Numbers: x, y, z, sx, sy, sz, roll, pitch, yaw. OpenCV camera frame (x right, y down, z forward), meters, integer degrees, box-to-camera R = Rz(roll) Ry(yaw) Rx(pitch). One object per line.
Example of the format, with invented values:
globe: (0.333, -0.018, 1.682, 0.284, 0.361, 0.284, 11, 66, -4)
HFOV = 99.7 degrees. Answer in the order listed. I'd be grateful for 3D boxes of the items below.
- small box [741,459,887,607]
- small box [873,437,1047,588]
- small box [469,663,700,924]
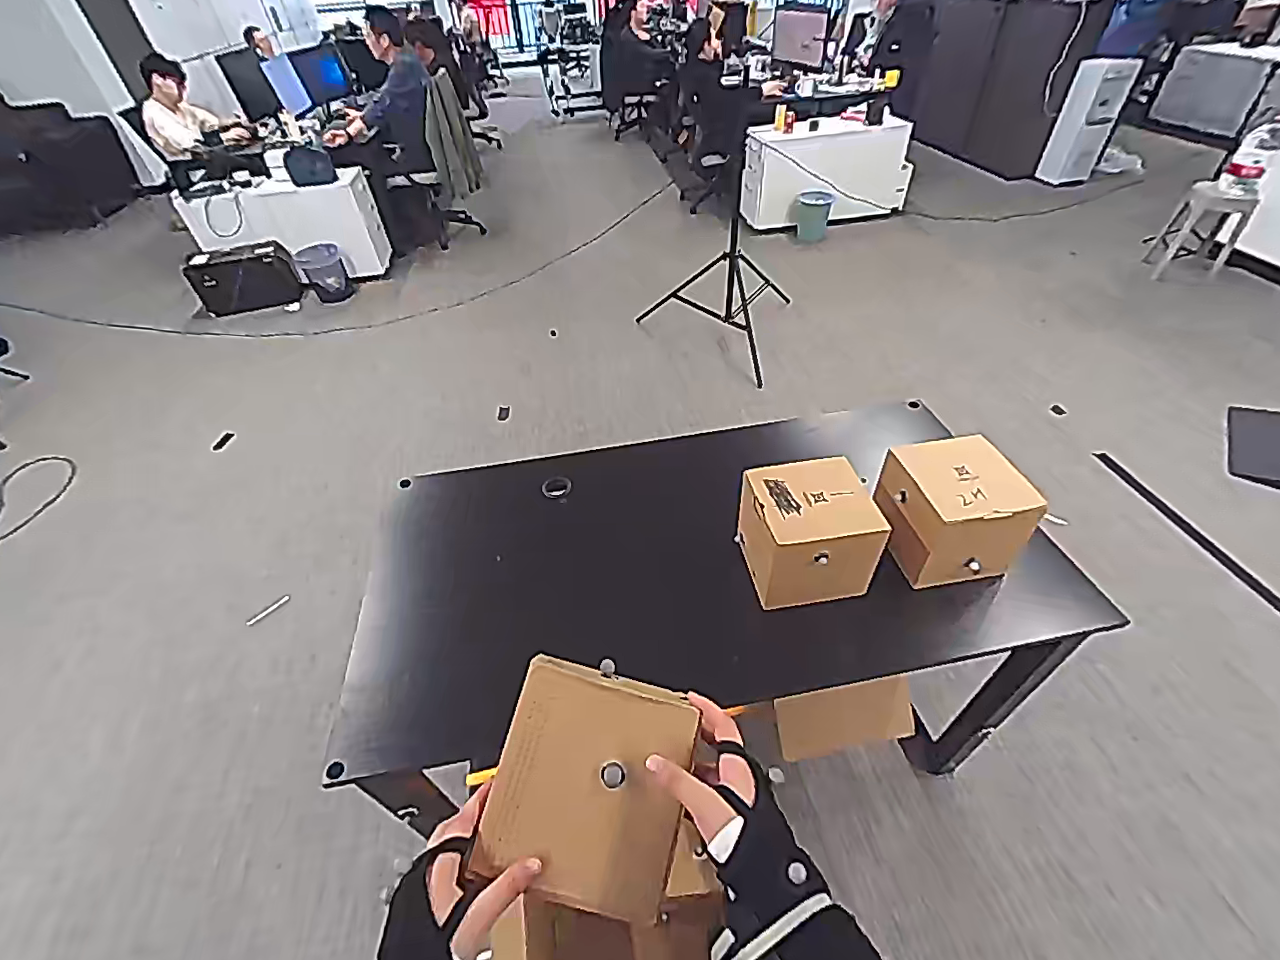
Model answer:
small box: (0.269, 0.090, 0.888, 0.179, 0.176, 0.168, -8, 44, -4)
small box: (0.512, 0.054, 0.904, 0.168, 0.176, 0.179, -9, 44, -3)
small box: (-0.055, 0.287, 0.538, 0.176, 0.168, 0.179, 15, 73, -2)
